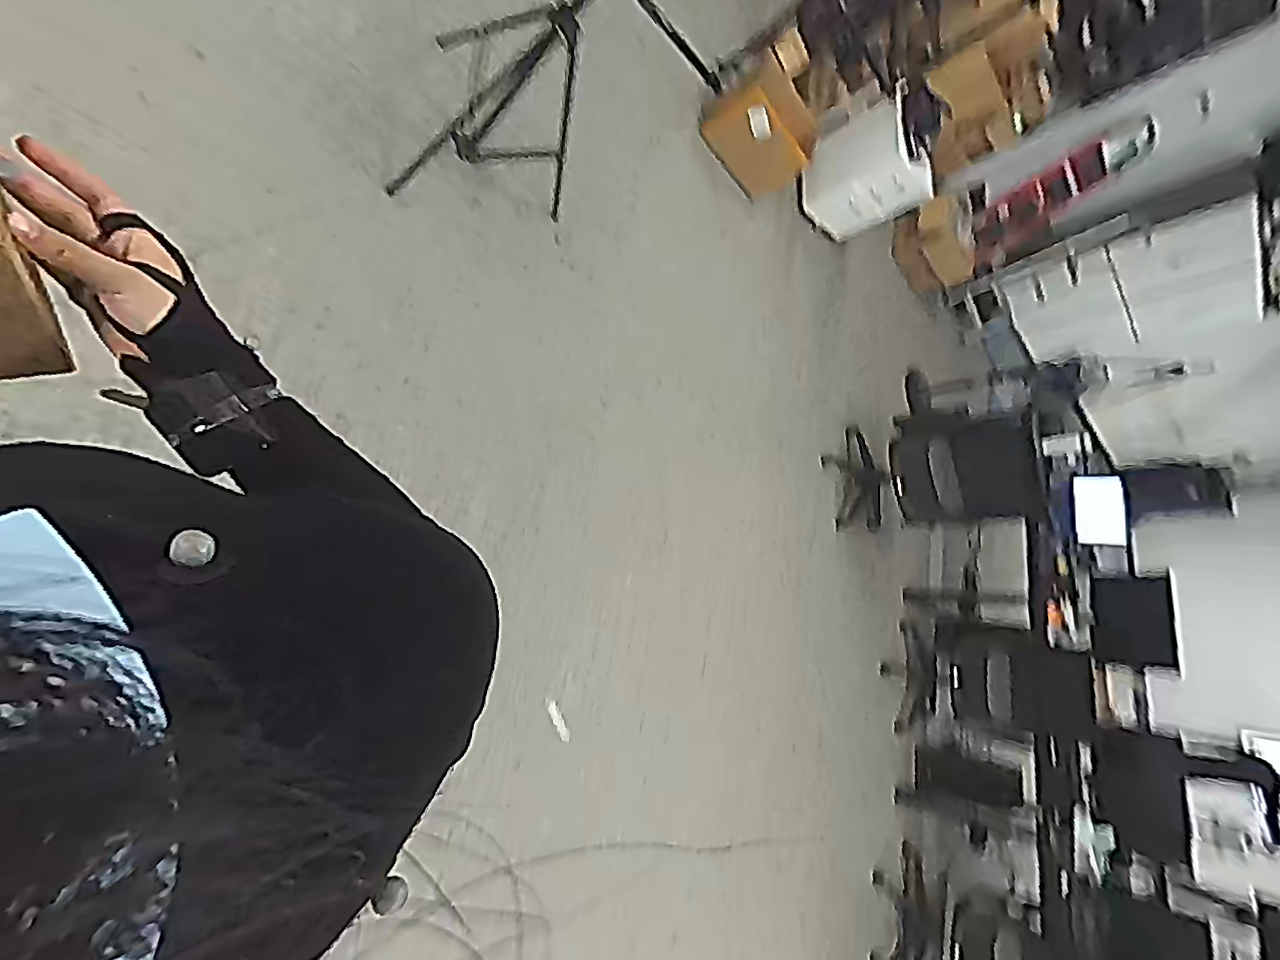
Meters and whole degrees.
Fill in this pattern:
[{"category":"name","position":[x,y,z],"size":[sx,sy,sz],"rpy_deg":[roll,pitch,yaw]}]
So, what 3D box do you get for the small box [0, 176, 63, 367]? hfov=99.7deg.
[{"category":"small box","position":[-0.467,-0.162,0.291],"size":[0.168,0.176,0.179],"rpy_deg":[-22,88,-40]}]
